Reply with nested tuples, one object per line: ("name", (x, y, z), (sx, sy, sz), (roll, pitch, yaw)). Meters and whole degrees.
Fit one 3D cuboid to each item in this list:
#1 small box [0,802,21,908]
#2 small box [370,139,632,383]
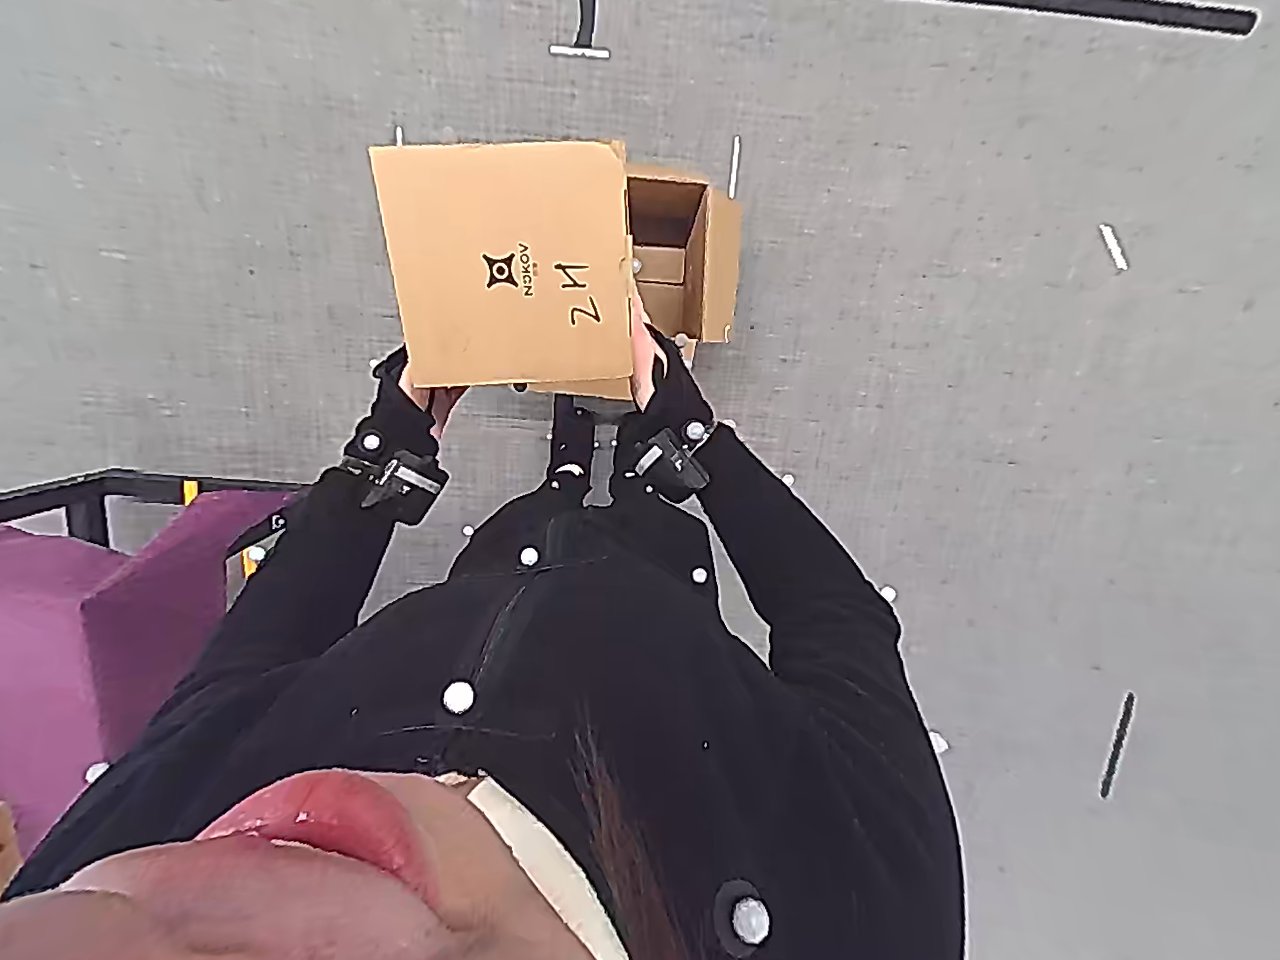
("small box", (-1.017, 0.562, 0.737), (0.179, 0.176, 0.168), (4, 102, -3))
("small box", (-0.099, -0.183, 0.469), (0.179, 0.176, 0.168), (-3, 113, -3))
